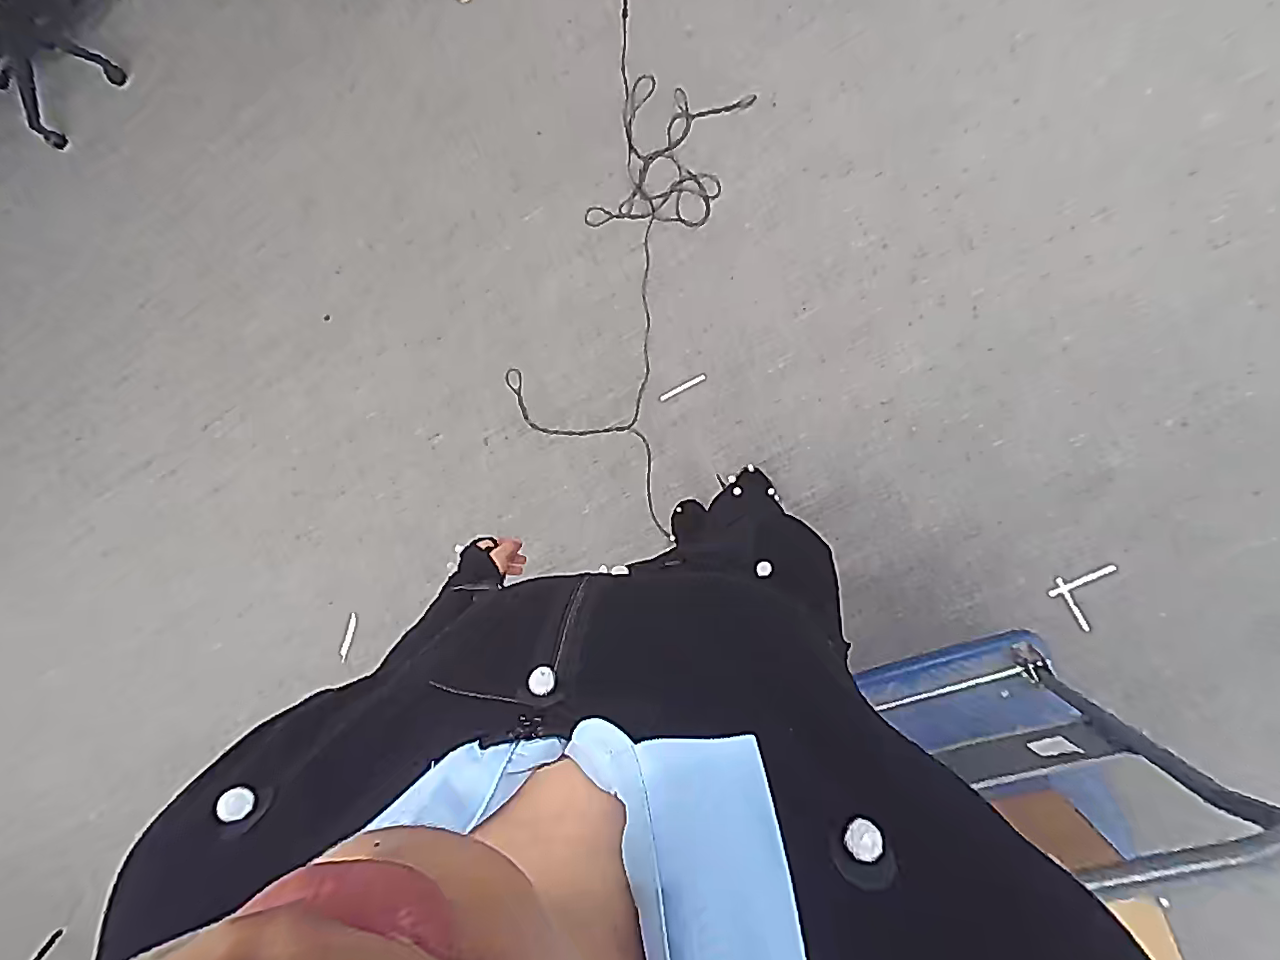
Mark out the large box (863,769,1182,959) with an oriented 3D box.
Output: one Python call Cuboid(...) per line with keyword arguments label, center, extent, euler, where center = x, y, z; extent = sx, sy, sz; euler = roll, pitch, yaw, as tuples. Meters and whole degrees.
Cuboid(label="large box", center=(0.713, 0.829, 1.049), extent=(0.408, 0.320, 0.320), euler=(-21, 86, 11))
